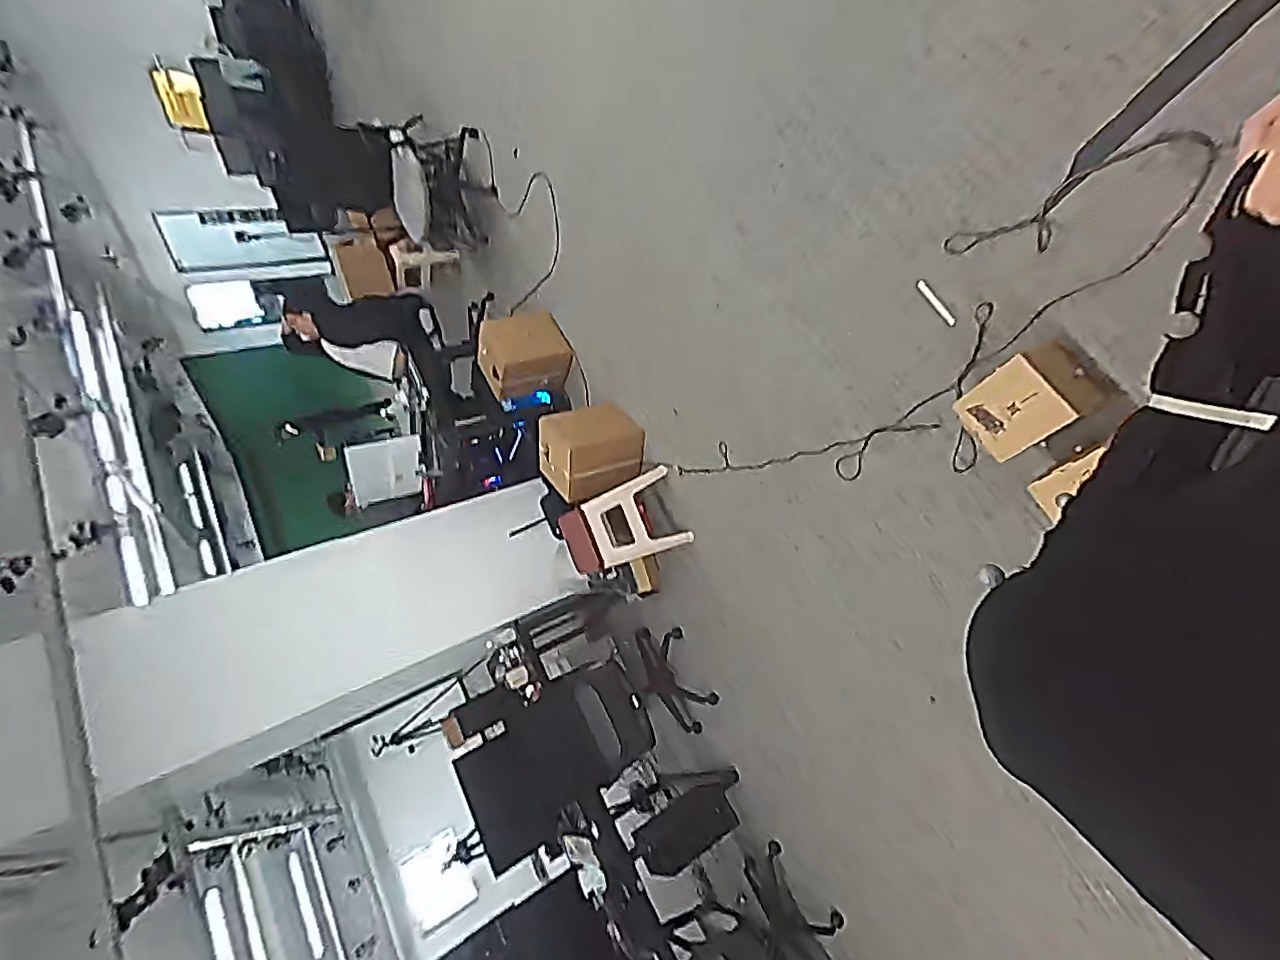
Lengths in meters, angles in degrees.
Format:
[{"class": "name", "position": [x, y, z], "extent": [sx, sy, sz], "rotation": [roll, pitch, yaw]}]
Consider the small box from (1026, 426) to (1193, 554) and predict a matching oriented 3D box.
[{"class": "small box", "position": [0.942, 0.018, 1.086], "extent": [0.179, 0.176, 0.168], "rotation": [59, 147, 16]}]

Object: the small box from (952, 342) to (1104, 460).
[{"class": "small box", "position": [0.829, -0.171, 1.159], "extent": [0.168, 0.176, 0.179], "rotation": [59, 147, 18]}]
